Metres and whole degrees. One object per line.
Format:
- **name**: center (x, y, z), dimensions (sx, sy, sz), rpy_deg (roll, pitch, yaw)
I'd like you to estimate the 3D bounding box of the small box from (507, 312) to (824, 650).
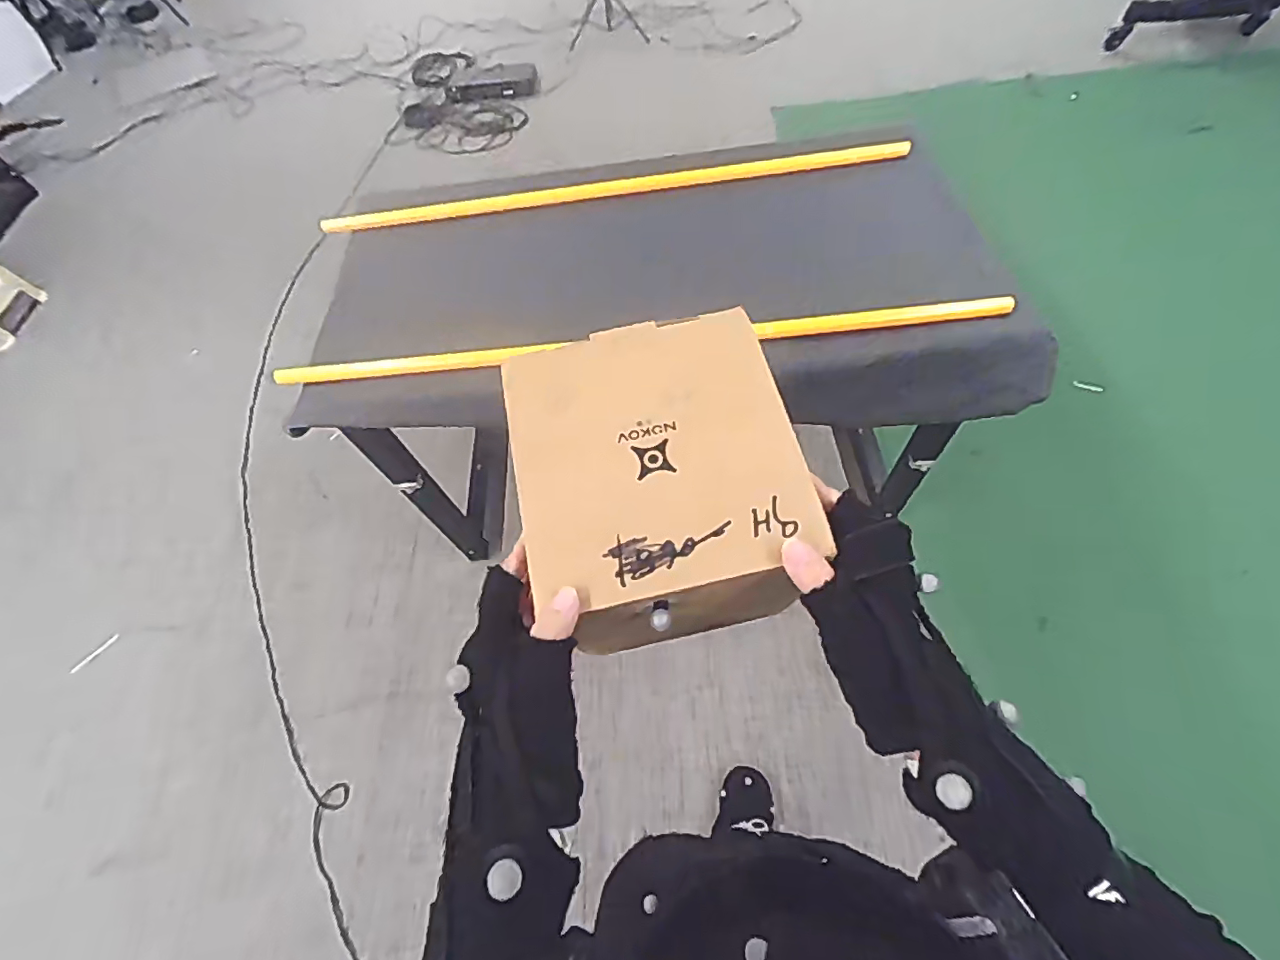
- **small box**: center (0.011, 0.011, 0.402), dimensions (0.168, 0.176, 0.179), rpy_deg (-14, 64, -1)
